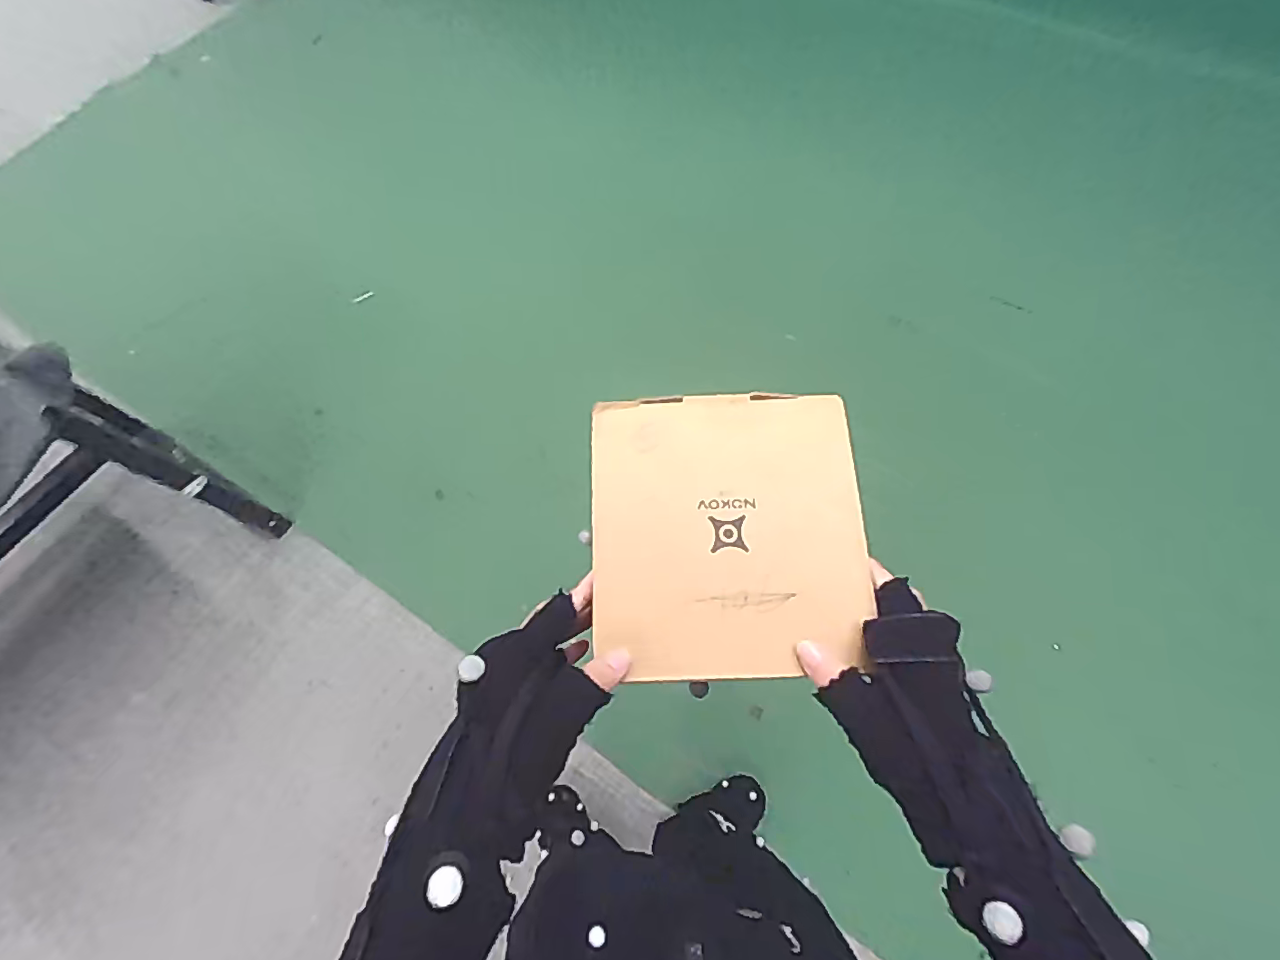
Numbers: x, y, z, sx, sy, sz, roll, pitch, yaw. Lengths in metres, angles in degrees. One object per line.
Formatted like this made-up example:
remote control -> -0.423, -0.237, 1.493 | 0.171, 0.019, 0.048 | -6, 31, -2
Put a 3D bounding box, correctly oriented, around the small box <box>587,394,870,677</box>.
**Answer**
small box -> 0.049, 0.051, 0.411 | 0.168, 0.176, 0.179 | -3, 74, 0
